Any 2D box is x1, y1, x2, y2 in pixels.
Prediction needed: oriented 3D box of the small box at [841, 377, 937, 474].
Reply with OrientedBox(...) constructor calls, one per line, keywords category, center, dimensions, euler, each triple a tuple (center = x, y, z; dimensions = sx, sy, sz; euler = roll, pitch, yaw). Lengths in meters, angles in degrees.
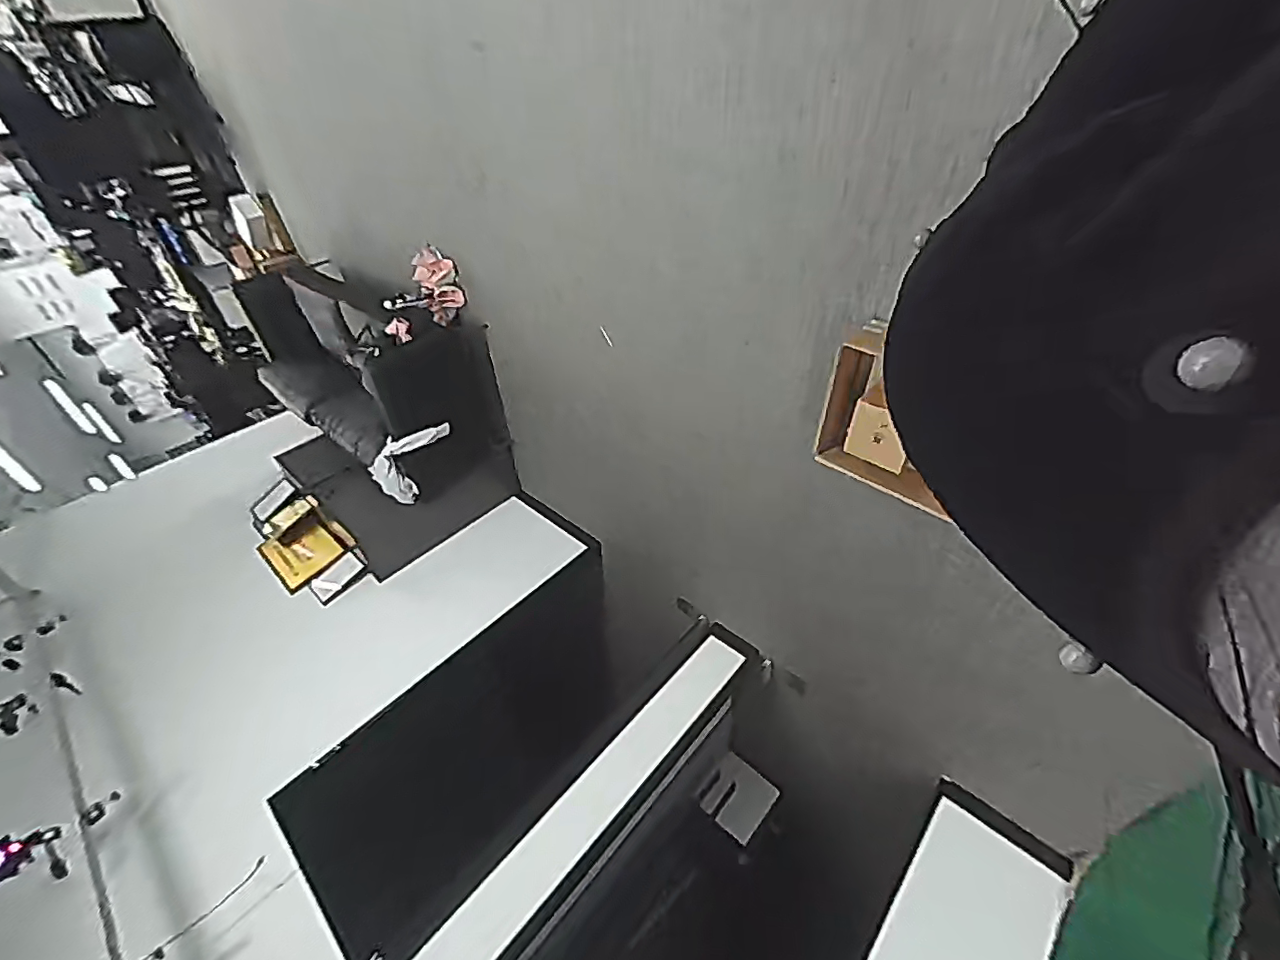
OrientedBox(category="small box", center=(0.689, -0.154, 1.494), dimensions=(0.168, 0.176, 0.179), euler=(30, 139, 30))
